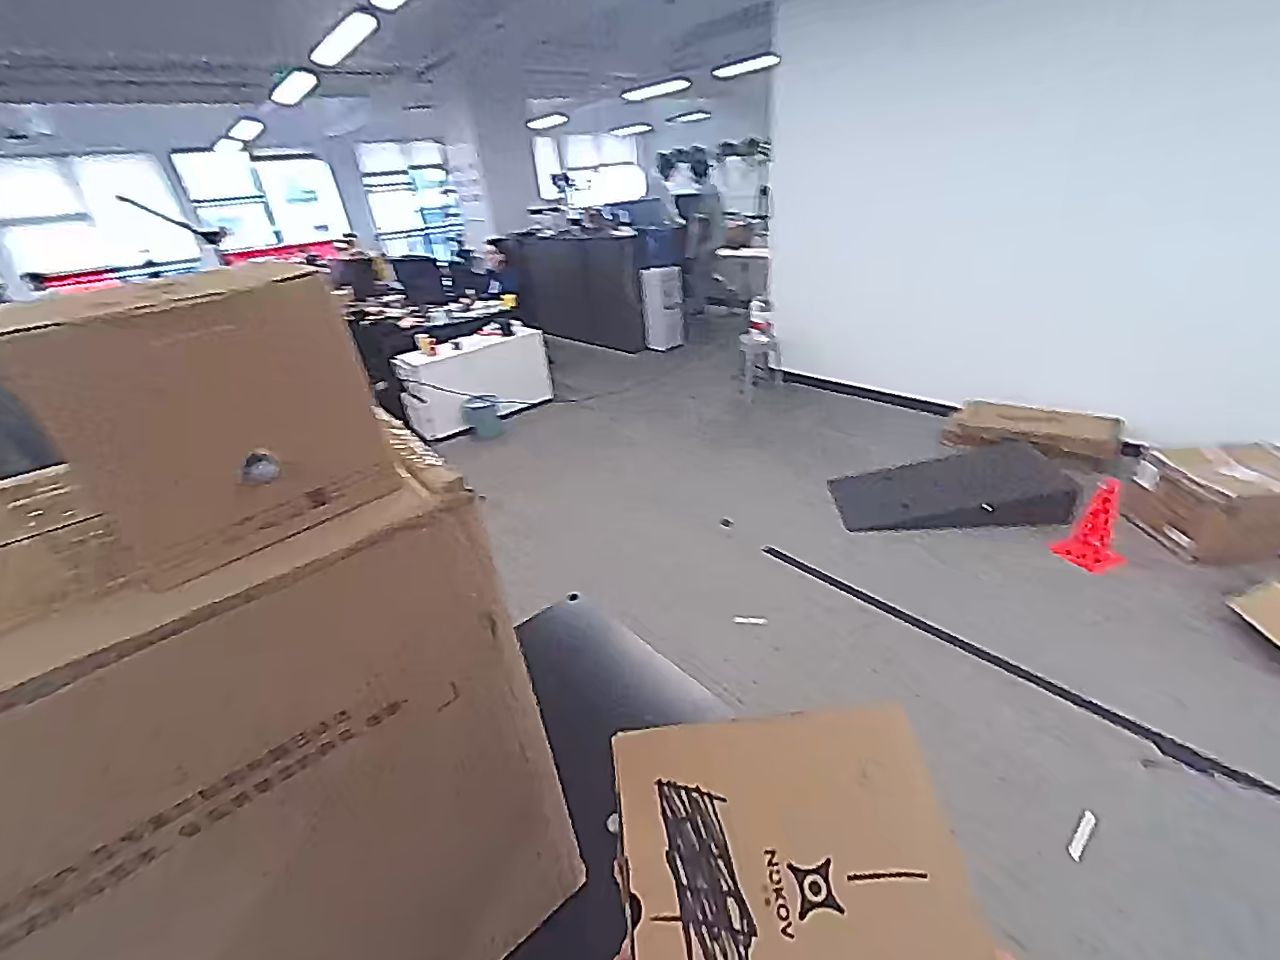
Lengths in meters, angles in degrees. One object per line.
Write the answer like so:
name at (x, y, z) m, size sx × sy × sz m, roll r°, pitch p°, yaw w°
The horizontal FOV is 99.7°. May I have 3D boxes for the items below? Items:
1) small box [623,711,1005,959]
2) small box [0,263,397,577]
small box at (0.085, 0.258, 0.334) m, size 0.179 × 0.176 × 0.168 m, roll -5°, pitch 53°, yaw -3°
small box at (-0.314, -0.057, 0.405) m, size 0.168 × 0.176 × 0.179 m, roll -30°, pitch 38°, yaw -34°
